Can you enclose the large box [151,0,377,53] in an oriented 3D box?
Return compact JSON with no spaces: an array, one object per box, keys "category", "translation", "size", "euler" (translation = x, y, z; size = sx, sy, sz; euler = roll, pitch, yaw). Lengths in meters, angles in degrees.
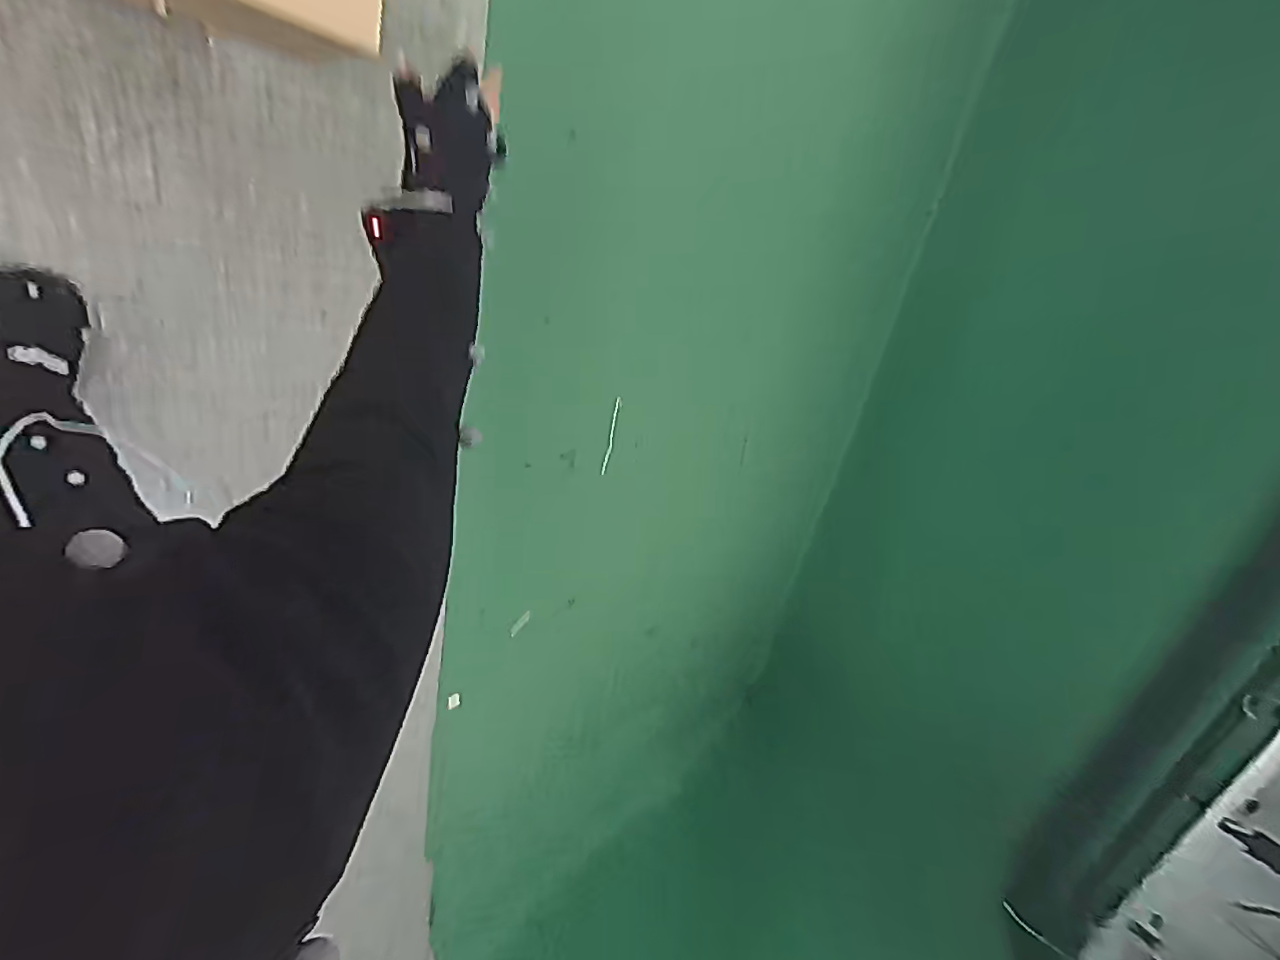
[{"category":"large box","translation":[-0.562,-0.751,0.619],"size":[0.408,0.320,0.320],"euler":[-11,122,-46]}]
